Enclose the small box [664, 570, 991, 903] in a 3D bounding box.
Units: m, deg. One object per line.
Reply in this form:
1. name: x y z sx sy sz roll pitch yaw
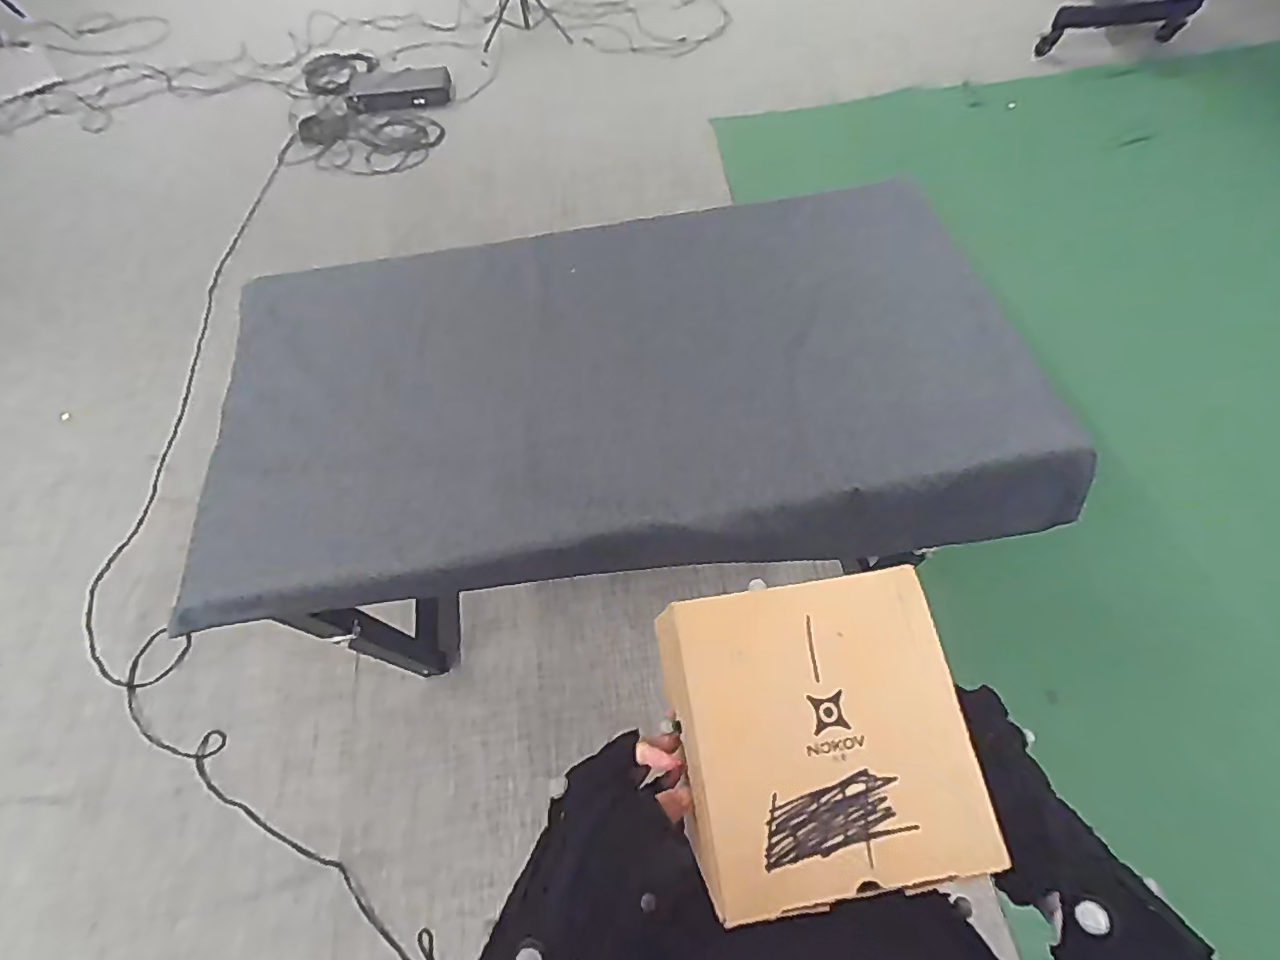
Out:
1. small box: 0.113 0.174 0.411 0.168 0.176 0.179 -6 71 -4
